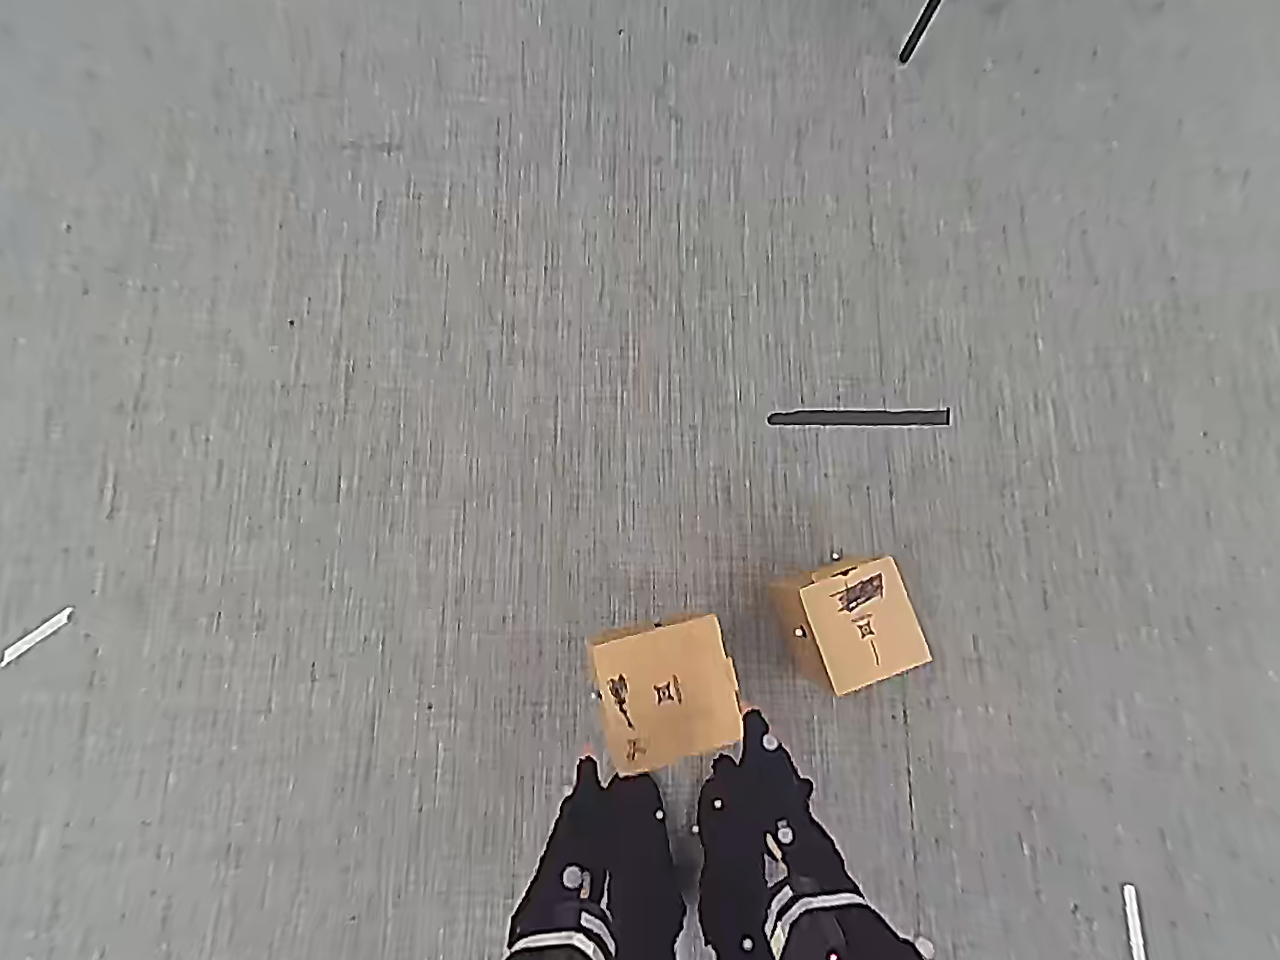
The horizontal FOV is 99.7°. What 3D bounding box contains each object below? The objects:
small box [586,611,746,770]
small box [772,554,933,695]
[{"bbox_3d":[0.027,0.290,0.788,0.179,0.176,0.168,-12,79,-12],"label":"small box"},{"bbox_3d":[0.344,0.235,0.915,0.168,0.176,0.179,-19,83,-5],"label":"small box"}]
